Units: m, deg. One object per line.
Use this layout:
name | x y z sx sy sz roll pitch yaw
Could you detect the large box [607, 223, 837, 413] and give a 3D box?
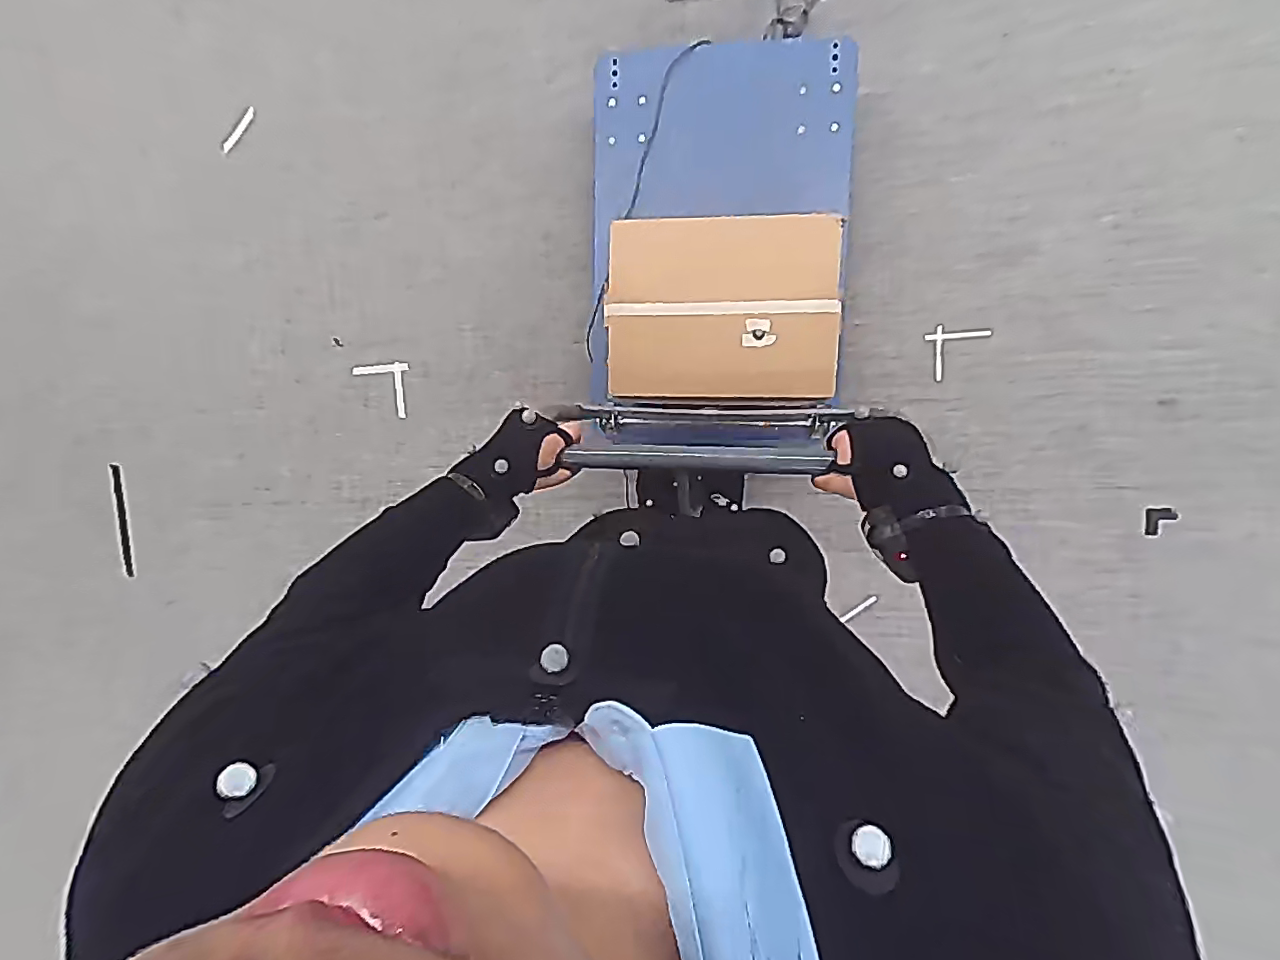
large box | 0.153 -0.299 1.100 0.408 0.320 0.320 1 96 6
